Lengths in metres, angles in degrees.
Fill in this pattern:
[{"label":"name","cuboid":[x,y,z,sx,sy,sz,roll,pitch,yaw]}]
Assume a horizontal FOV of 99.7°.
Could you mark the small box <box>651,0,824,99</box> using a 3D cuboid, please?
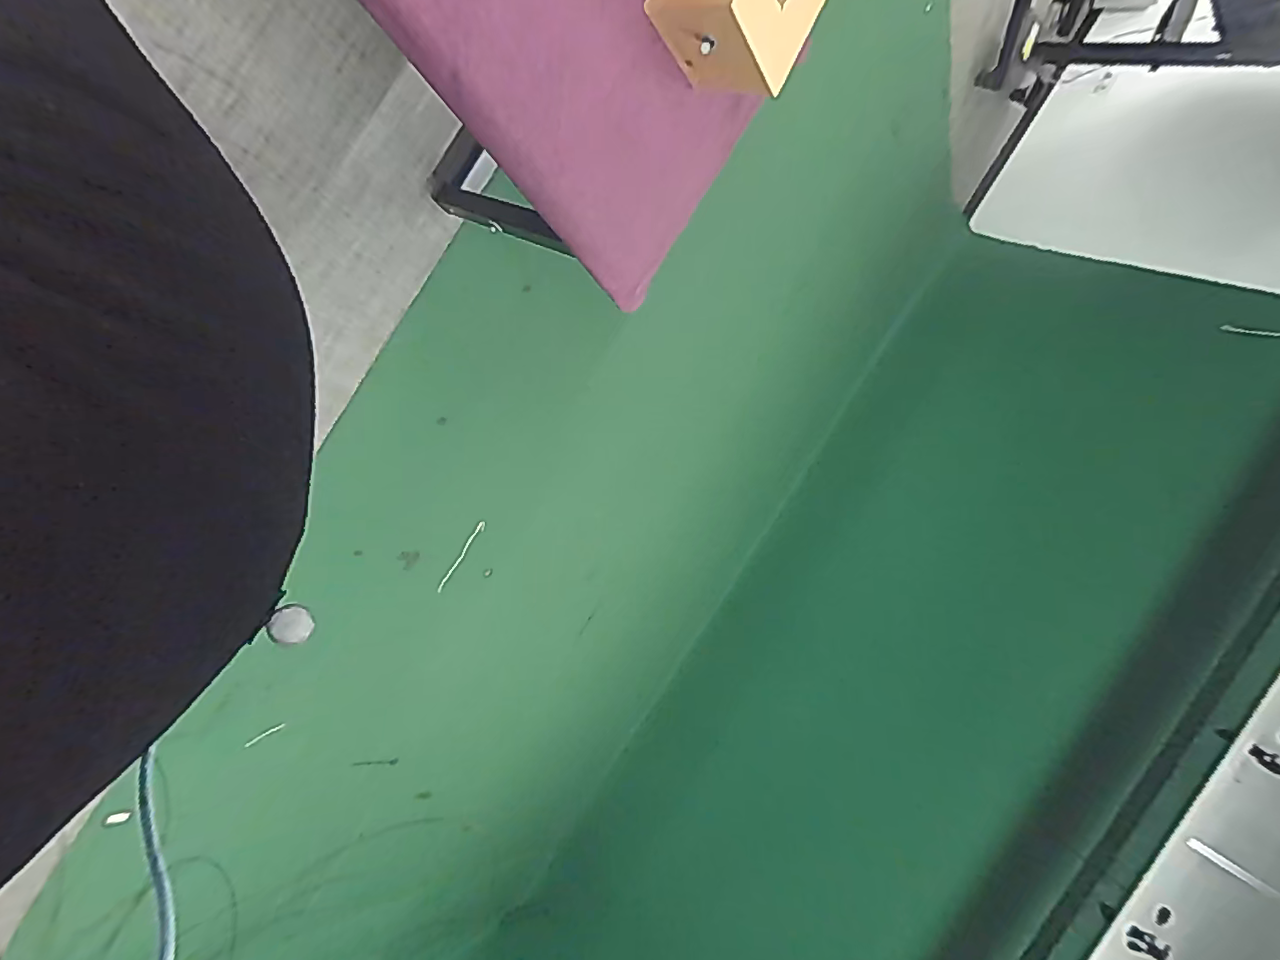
[{"label":"small box","cuboid":[0.139,-0.703,0.793,0.168,0.176,0.179,16,103,-55]}]
